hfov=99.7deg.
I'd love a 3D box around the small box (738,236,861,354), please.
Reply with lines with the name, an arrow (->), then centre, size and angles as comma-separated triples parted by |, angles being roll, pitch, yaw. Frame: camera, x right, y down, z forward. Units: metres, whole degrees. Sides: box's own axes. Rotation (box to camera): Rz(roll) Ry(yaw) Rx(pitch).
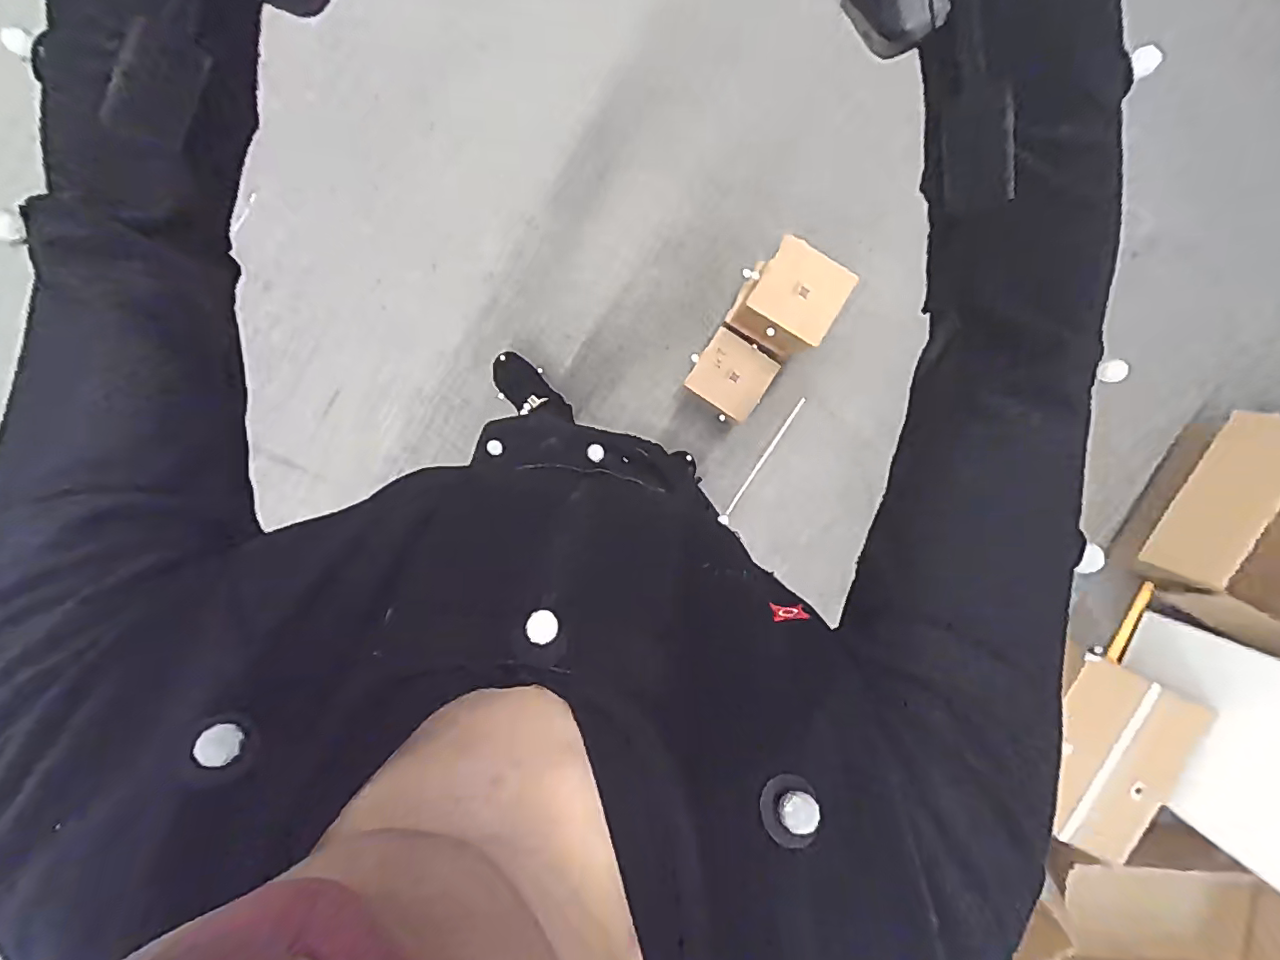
small box -> 0.335, -0.389, 1.172 | 0.179, 0.176, 0.168 | 31, 96, -2
